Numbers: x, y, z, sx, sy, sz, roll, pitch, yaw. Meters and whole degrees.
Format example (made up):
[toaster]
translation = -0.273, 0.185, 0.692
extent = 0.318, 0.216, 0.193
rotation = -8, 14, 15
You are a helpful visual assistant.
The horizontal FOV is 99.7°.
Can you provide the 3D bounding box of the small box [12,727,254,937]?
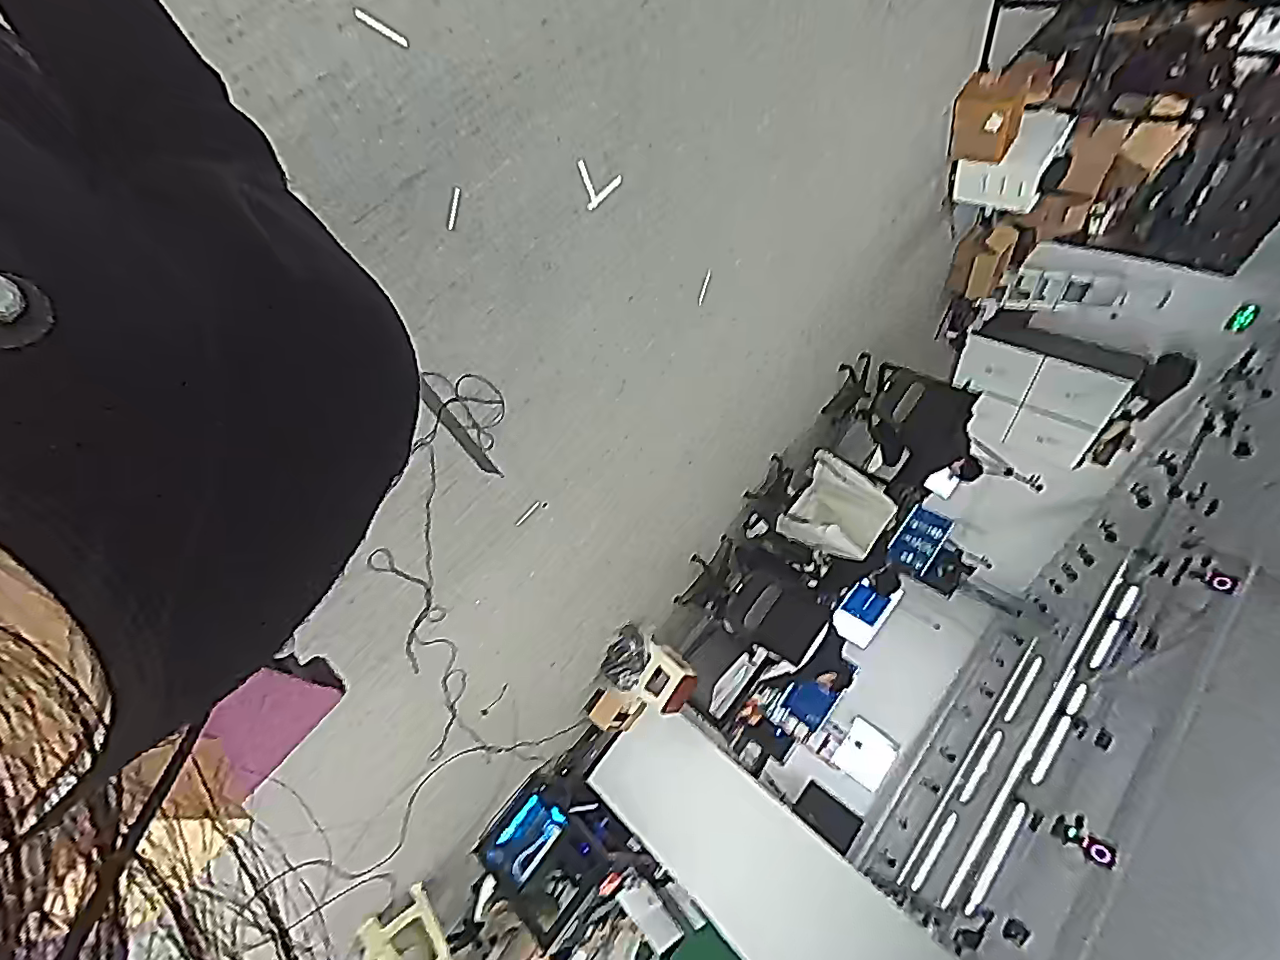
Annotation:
[small box]
translation = -0.703, 0.474, 0.754
extent = 0.168, 0.176, 0.179
rotation = -49, 147, -13
